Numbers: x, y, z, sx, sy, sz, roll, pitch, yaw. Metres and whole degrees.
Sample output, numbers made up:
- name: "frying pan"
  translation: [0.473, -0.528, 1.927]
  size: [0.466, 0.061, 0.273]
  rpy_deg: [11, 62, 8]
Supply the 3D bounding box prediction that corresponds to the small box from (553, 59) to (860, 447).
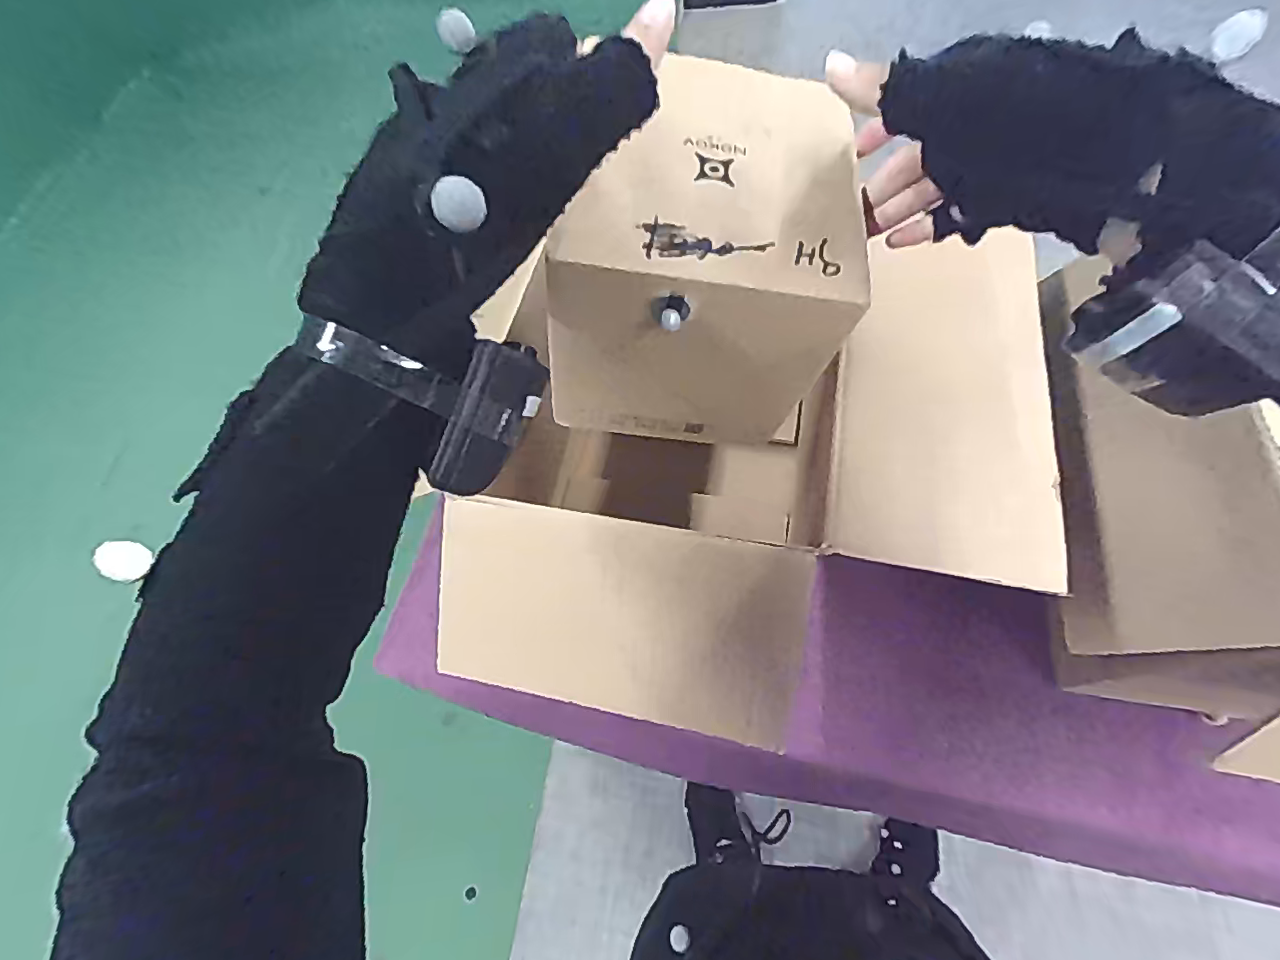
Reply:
- name: "small box"
  translation: [0.033, -0.146, 0.386]
  size: [0.168, 0.176, 0.179]
  rpy_deg: [7, 66, -3]
